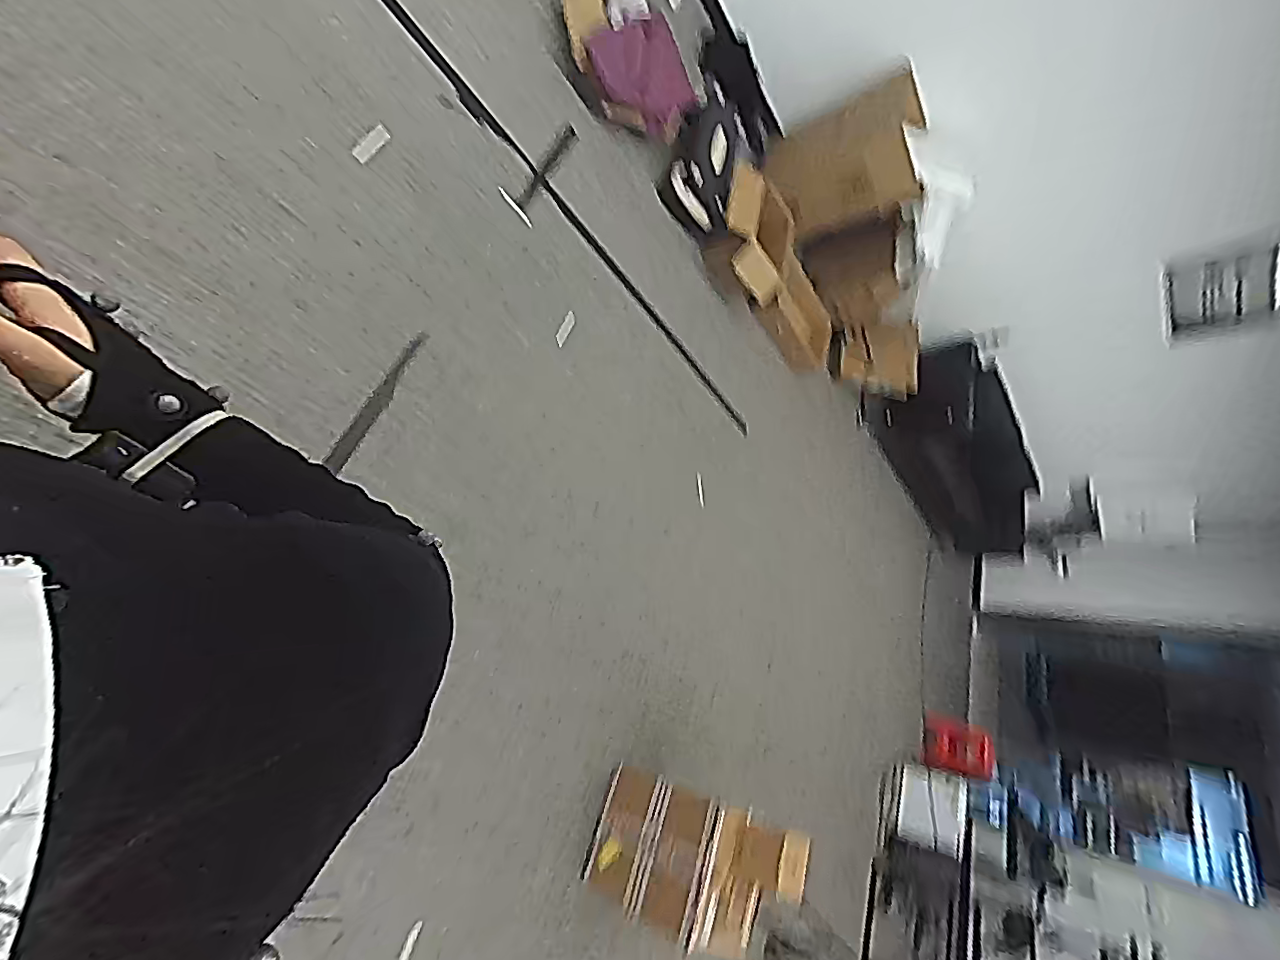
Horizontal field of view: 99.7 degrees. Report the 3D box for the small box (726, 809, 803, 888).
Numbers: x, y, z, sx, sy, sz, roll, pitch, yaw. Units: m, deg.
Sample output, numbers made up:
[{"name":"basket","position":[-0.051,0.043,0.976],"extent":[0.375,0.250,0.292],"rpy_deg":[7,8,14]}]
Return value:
[{"name":"small box","position":[0.410,1.207,1.777],"extent":[0.179,0.176,0.168],"rpy_deg":[41,55,-35]}]
